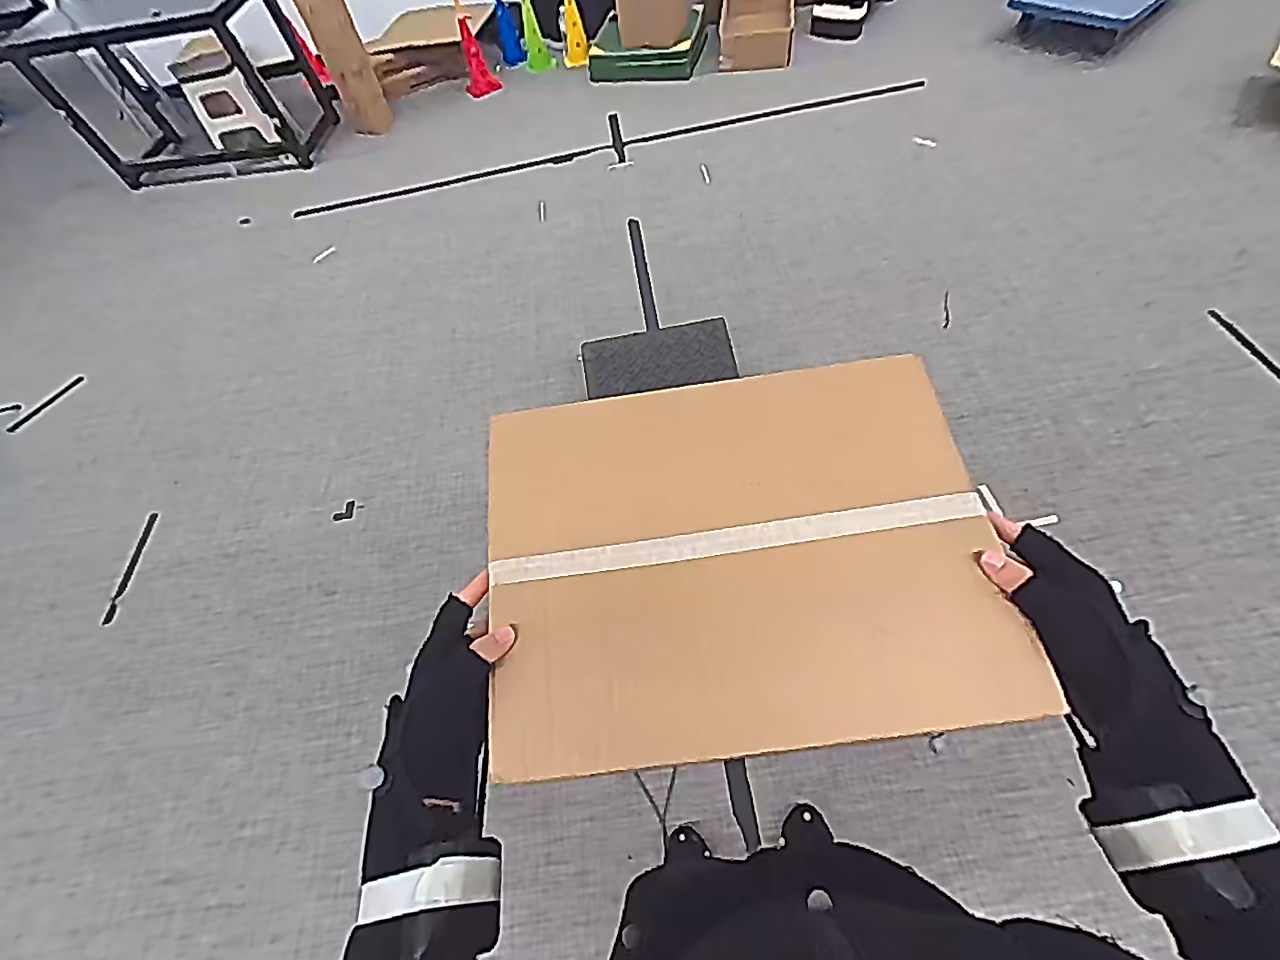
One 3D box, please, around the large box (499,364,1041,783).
[{"bbox_3d":[0.093,0.117,0.591,0.408,0.320,0.320,-9,64,2],"label":"large box"}]
